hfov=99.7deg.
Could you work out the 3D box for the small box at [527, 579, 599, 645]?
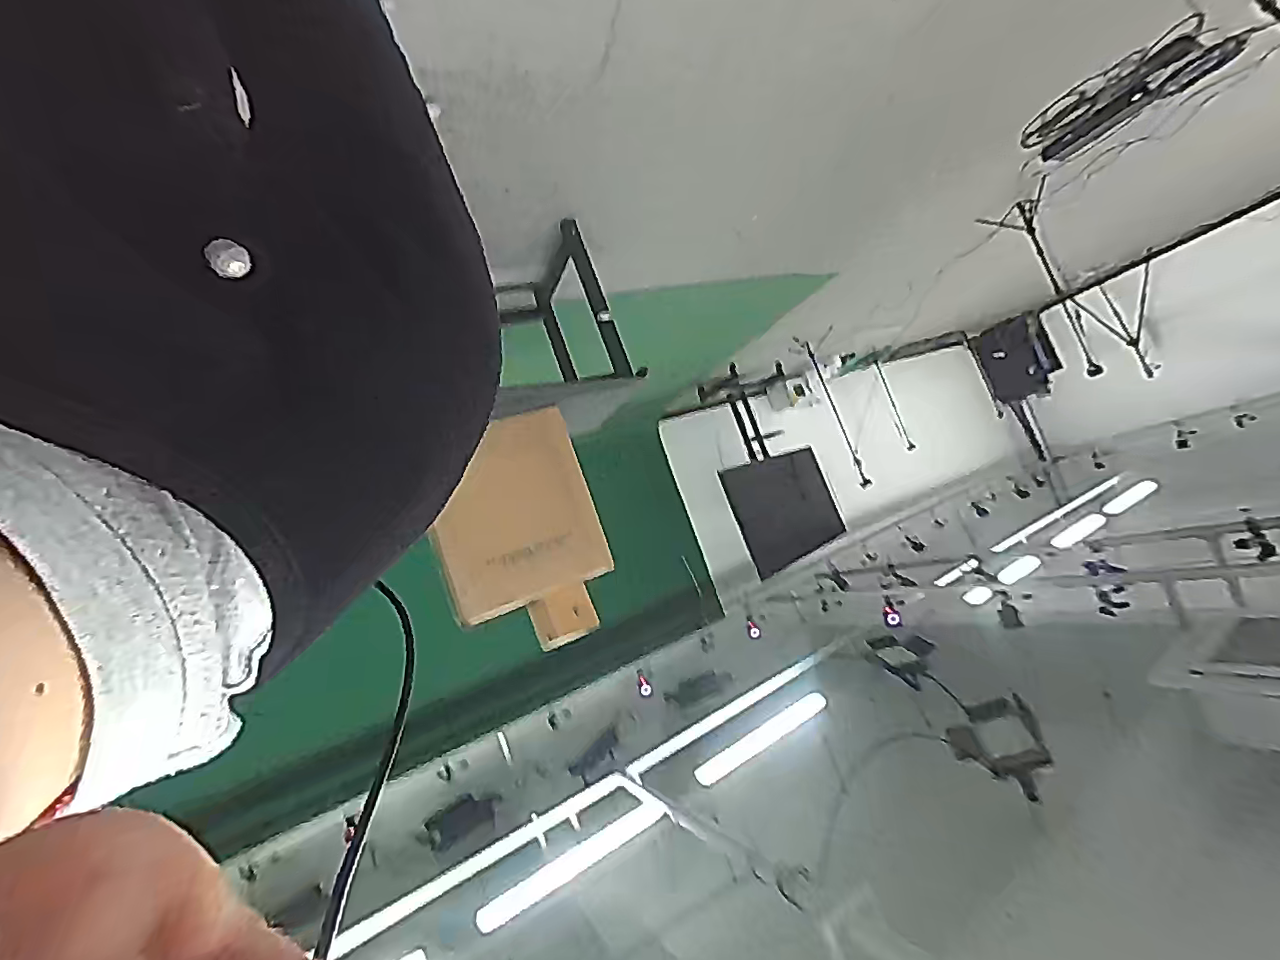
[{"bbox_3d":[-0.288,0.484,2.000,0.179,0.176,0.168,-13,161,-38],"label":"small box"}]
